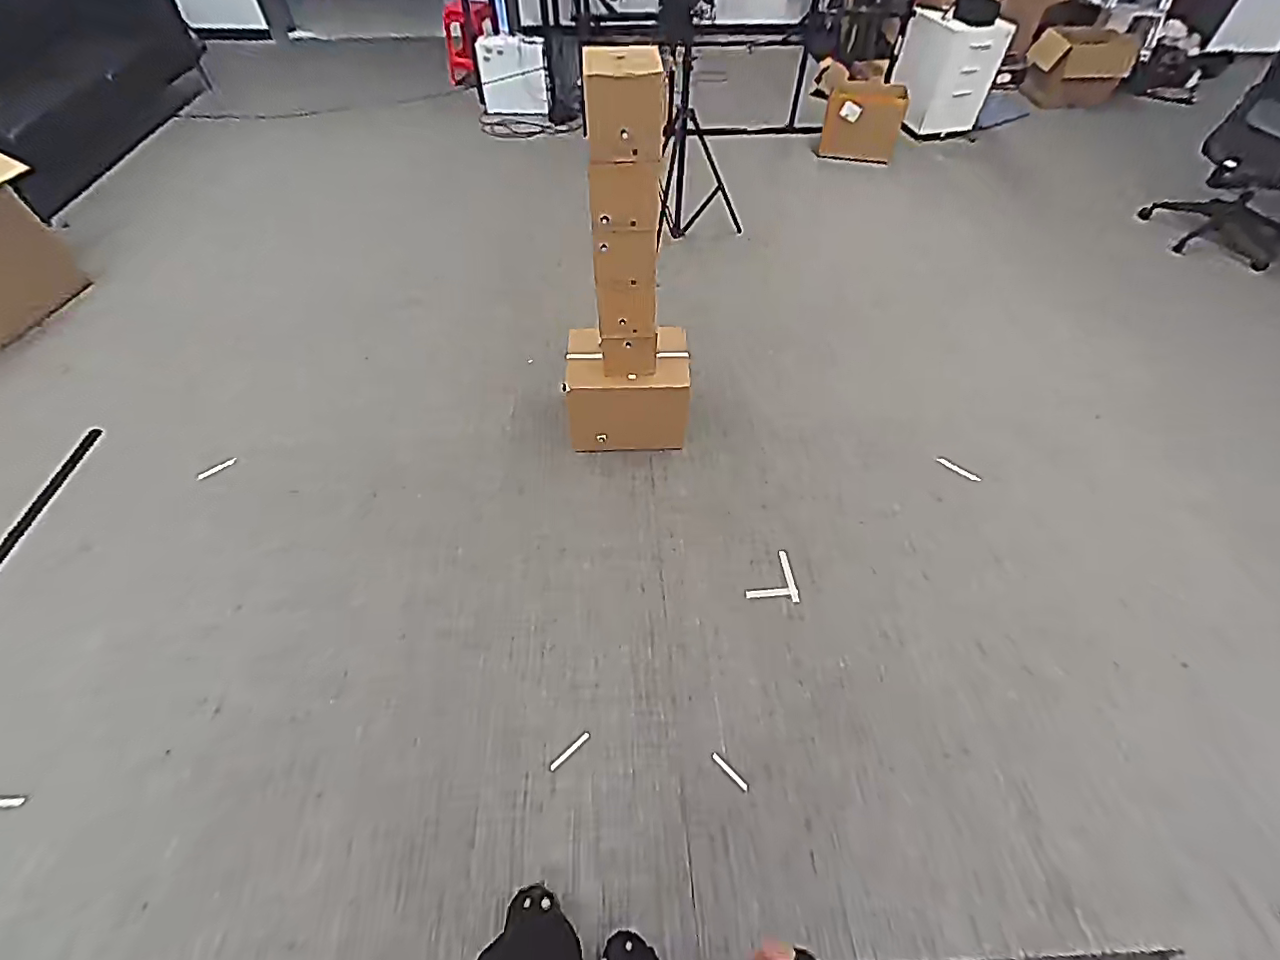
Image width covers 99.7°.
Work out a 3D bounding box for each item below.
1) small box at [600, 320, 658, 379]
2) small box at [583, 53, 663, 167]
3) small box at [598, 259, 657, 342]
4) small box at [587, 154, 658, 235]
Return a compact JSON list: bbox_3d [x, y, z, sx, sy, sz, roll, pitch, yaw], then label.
[{"bbox_3d":[-0.037,-0.440,1.739,0.179,0.176,0.168,-3,53,-3],"label":"small box"},{"bbox_3d":[-0.040,-0.826,1.210,0.168,0.176,0.179,-3,54,-2],"label":"small box"},{"bbox_3d":[-0.041,-0.532,1.605,0.168,0.176,0.179,-3,54,-2],"label":"small box"},{"bbox_3d":[-0.040,-0.729,1.342,0.168,0.176,0.179,-1,52,-1],"label":"small box"}]
